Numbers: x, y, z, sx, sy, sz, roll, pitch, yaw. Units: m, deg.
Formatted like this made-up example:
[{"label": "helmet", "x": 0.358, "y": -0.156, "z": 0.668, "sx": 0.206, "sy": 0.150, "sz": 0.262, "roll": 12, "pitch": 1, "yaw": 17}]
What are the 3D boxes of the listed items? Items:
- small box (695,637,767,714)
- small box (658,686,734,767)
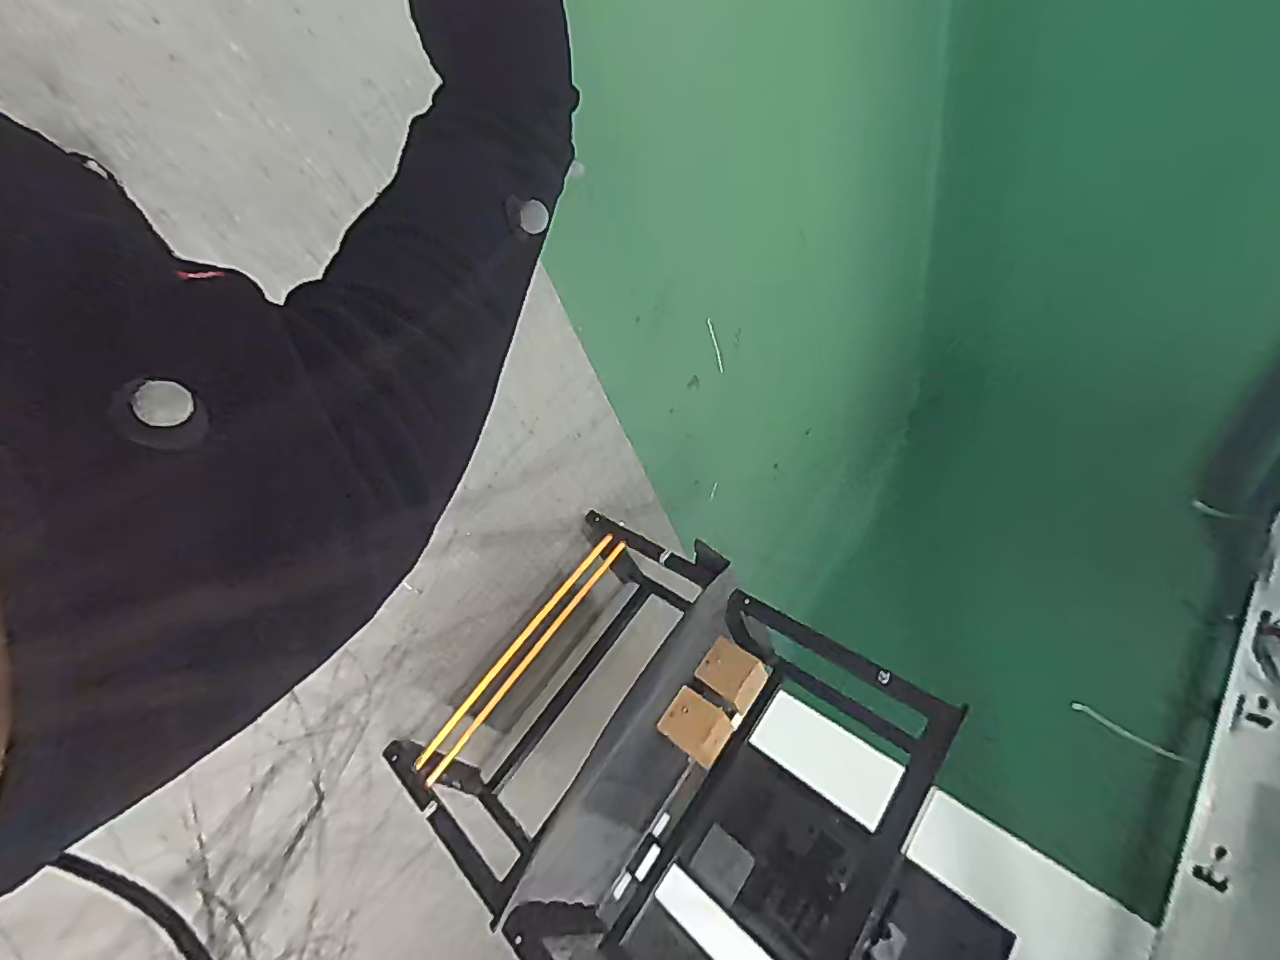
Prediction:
[{"label": "small box", "x": 0.317, "y": 0.678, "z": 1.888, "sx": 0.168, "sy": 0.176, "sz": 0.179, "roll": -51, "pitch": 141, "yaw": -19}, {"label": "small box", "x": 0.187, "y": 0.823, "z": 1.816, "sx": 0.168, "sy": 0.176, "sz": 0.179, "roll": -50, "pitch": 140, "yaw": -19}]
